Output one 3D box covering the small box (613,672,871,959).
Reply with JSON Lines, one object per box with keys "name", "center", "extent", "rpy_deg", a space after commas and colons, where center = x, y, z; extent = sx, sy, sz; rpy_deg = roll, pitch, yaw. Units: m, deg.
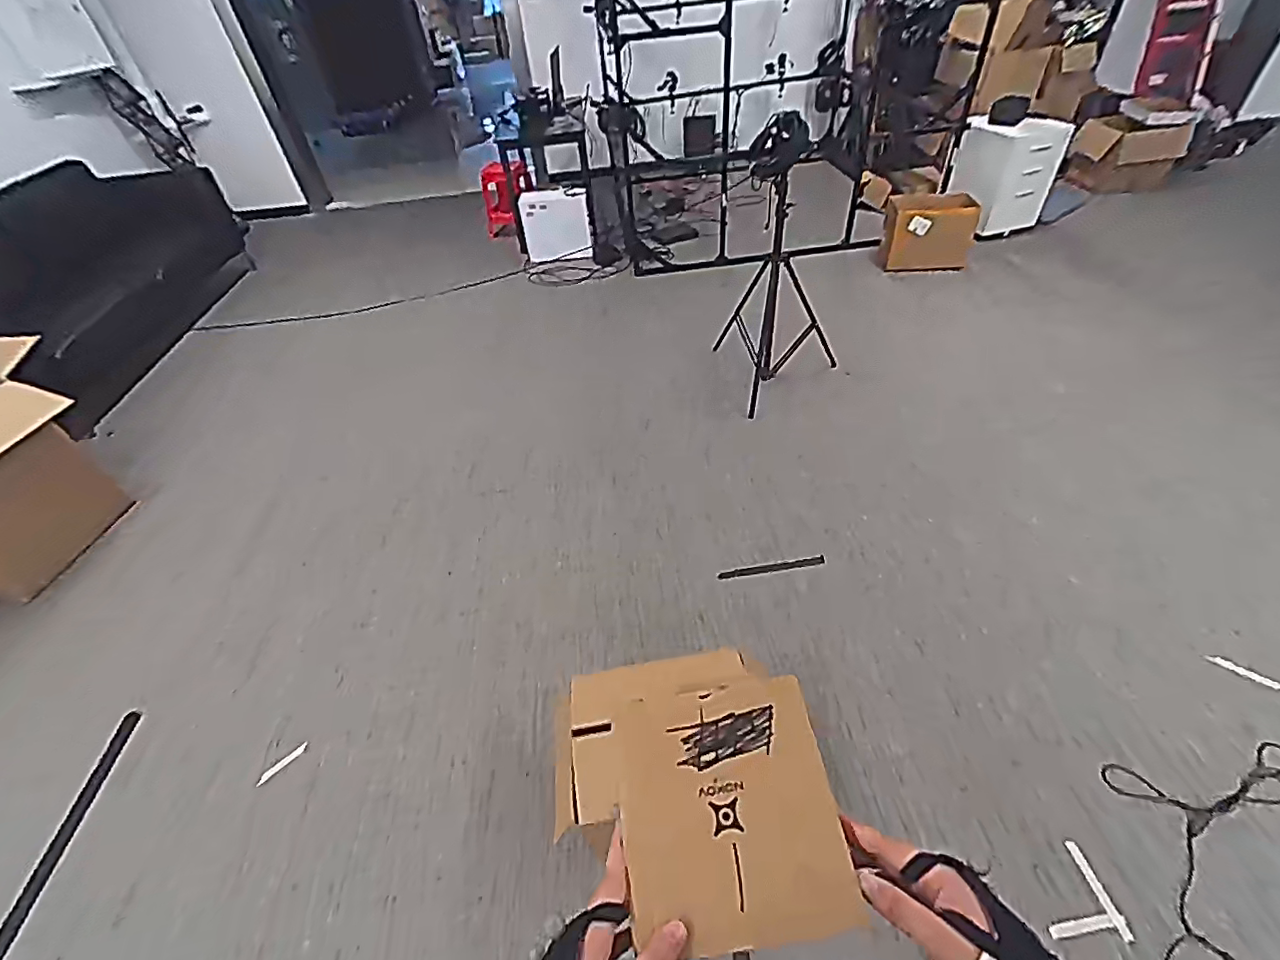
{"name": "small box", "center": [0.072, 0.294, 0.476], "extent": [0.168, 0.176, 0.179], "rpy_deg": [-9, 51, 0]}
